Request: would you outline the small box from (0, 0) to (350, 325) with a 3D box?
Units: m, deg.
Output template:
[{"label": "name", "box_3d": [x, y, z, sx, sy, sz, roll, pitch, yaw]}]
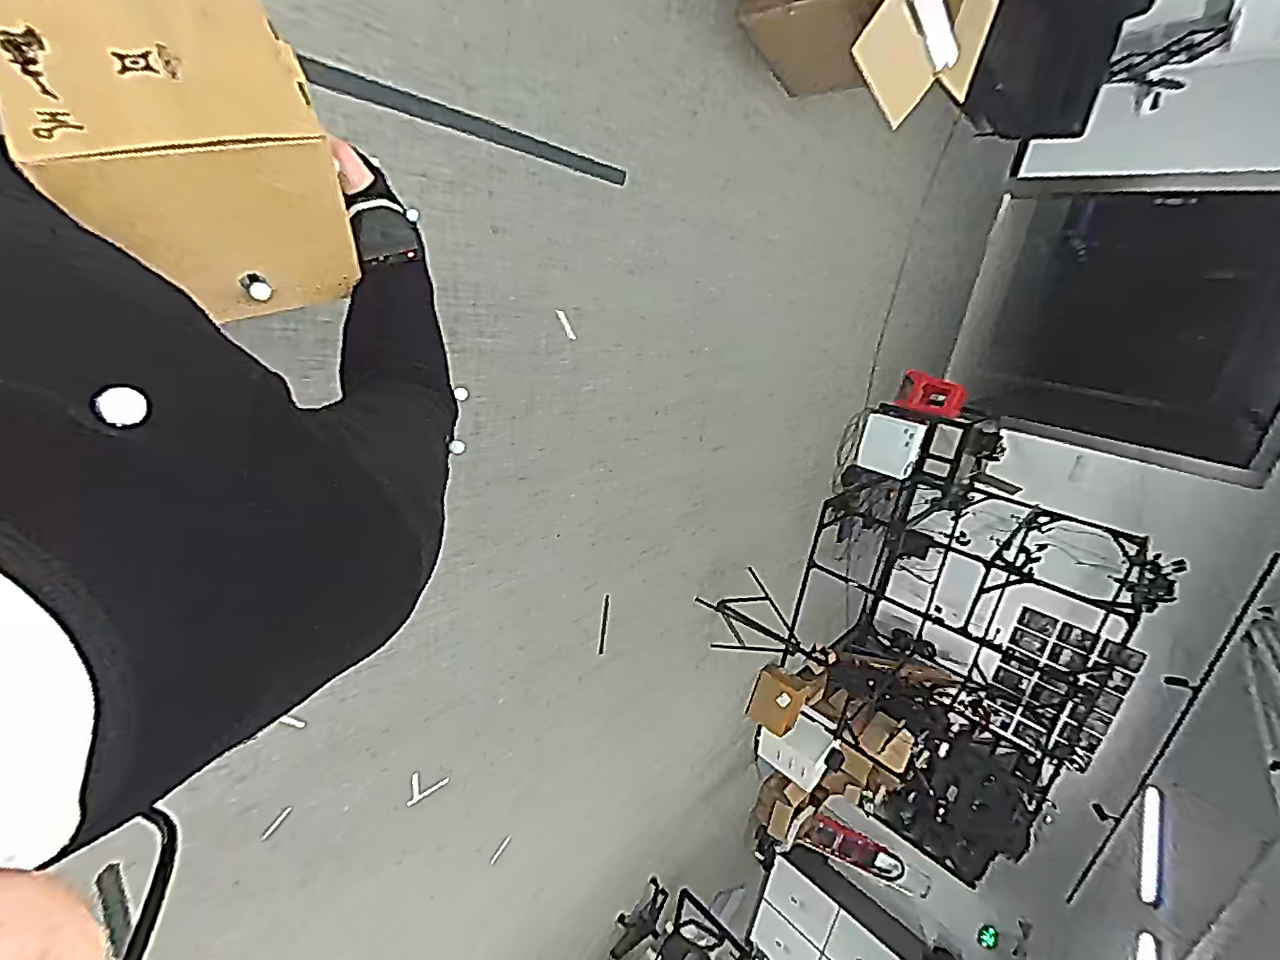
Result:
[{"label": "small box", "box_3d": [-0.371, -0.263, 0.466, 0.179, 0.168, 0.176, -23, 165, -26]}]
